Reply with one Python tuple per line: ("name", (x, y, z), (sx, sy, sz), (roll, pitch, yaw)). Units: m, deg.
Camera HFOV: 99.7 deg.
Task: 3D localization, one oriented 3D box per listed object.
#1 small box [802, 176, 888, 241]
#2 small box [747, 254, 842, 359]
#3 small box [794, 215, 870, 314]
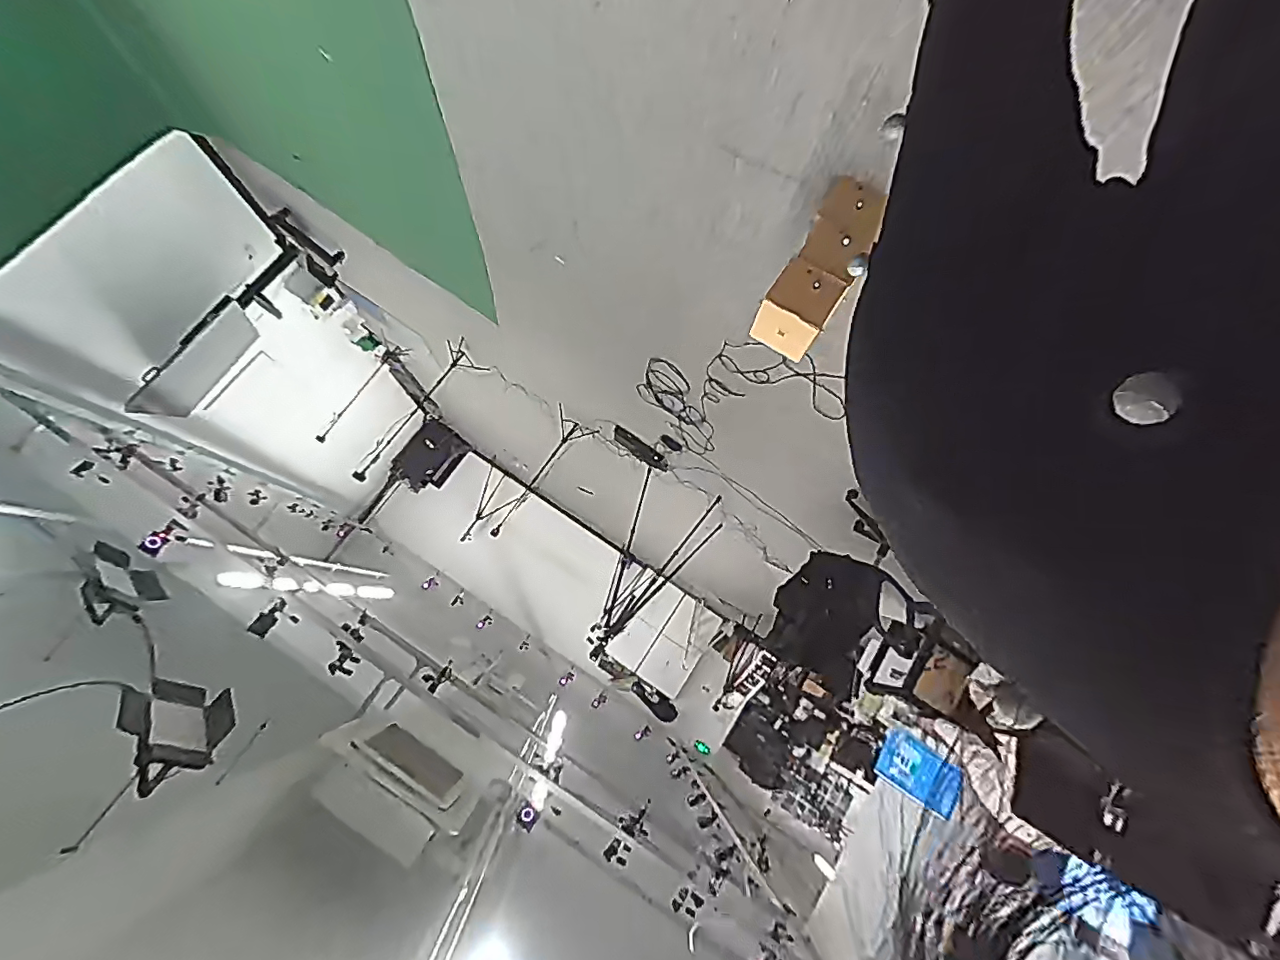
("small box", (0.591, -0.737, 1.571), (0.168, 0.176, 0.179), (33, 166, 10))
("small box", (0.422, -0.473, 1.480), (0.168, 0.176, 0.179), (33, 164, 8))
("small box", (0.516, -0.598, 1.525), (0.168, 0.176, 0.179), (32, 164, 6))
